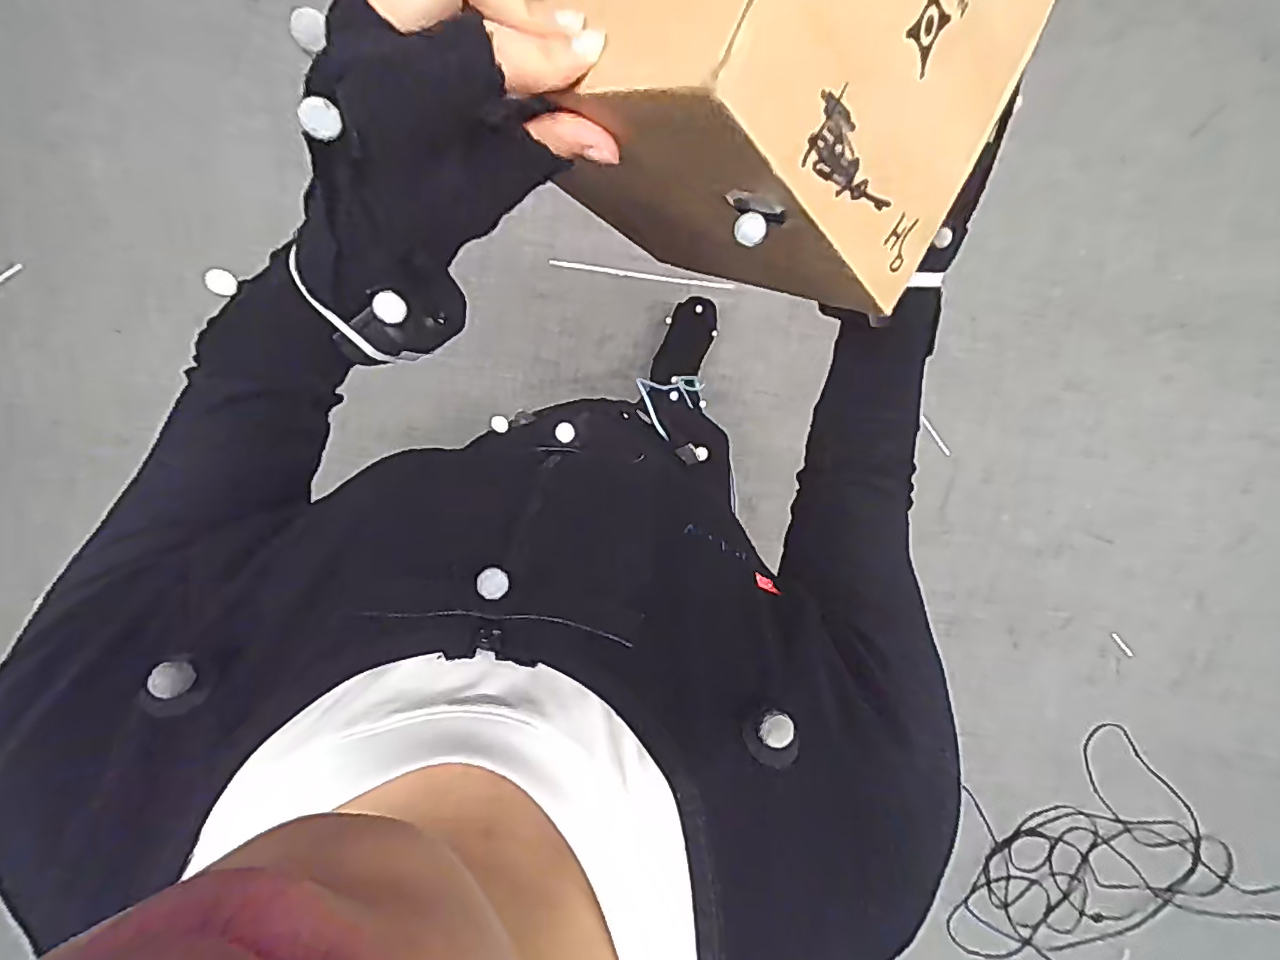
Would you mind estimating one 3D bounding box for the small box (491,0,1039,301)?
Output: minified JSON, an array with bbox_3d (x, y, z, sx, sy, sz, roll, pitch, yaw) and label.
[{"bbox_3d":[0.057,-0.215,0.256,0.168,0.176,0.179,15,104,-49],"label":"small box"}]
